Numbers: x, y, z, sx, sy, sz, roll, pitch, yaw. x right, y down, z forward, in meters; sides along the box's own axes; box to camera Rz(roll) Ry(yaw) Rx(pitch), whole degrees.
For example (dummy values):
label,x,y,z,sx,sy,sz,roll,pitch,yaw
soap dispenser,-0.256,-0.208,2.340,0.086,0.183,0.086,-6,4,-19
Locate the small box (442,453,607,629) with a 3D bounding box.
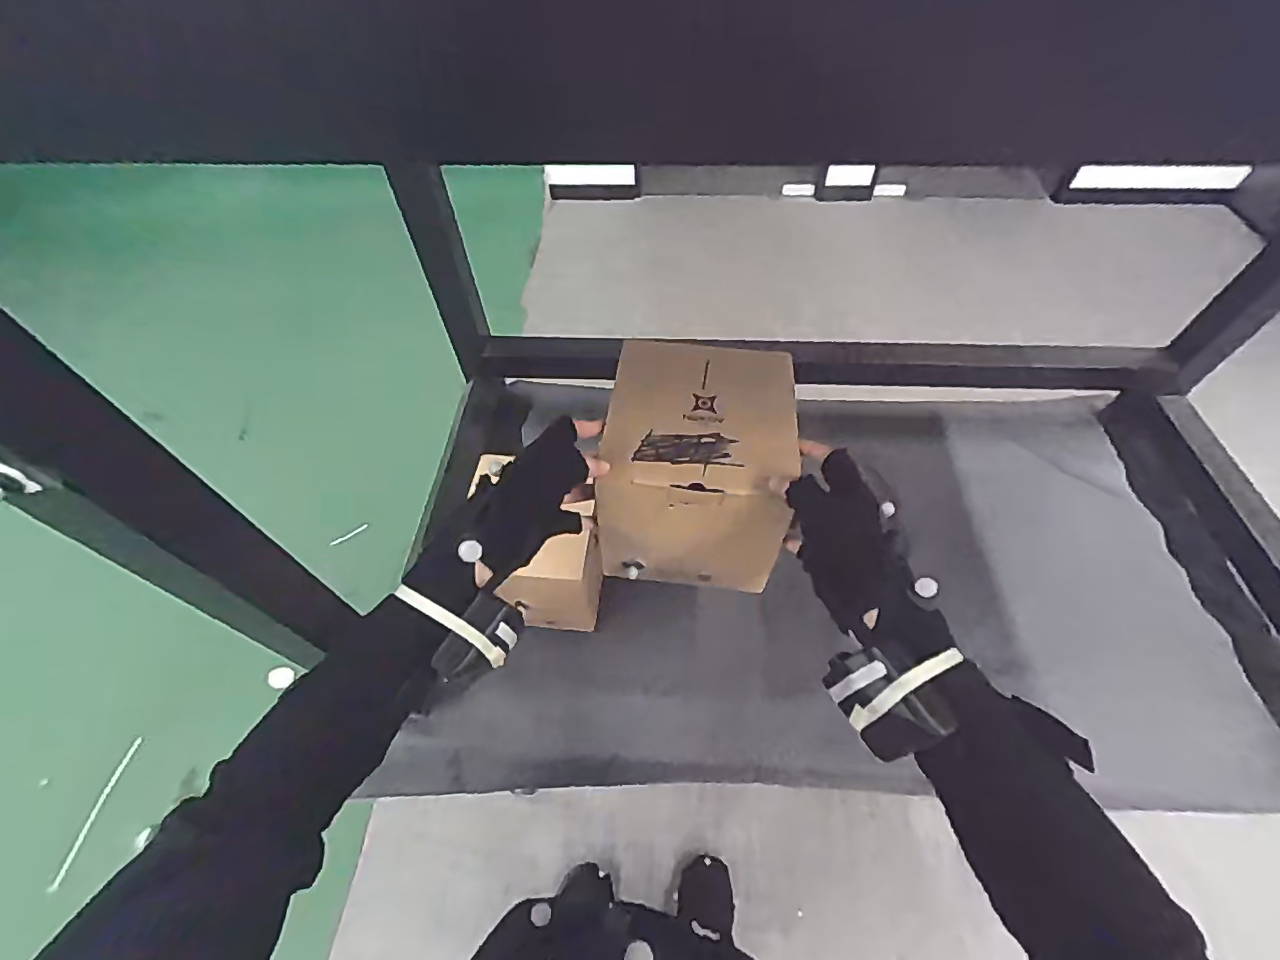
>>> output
label,x,y,z,sx,sy,sz,roll,pitch,yaw
small box,-0.139,0.087,0.731,0.168,0.176,0.179,5,54,4
